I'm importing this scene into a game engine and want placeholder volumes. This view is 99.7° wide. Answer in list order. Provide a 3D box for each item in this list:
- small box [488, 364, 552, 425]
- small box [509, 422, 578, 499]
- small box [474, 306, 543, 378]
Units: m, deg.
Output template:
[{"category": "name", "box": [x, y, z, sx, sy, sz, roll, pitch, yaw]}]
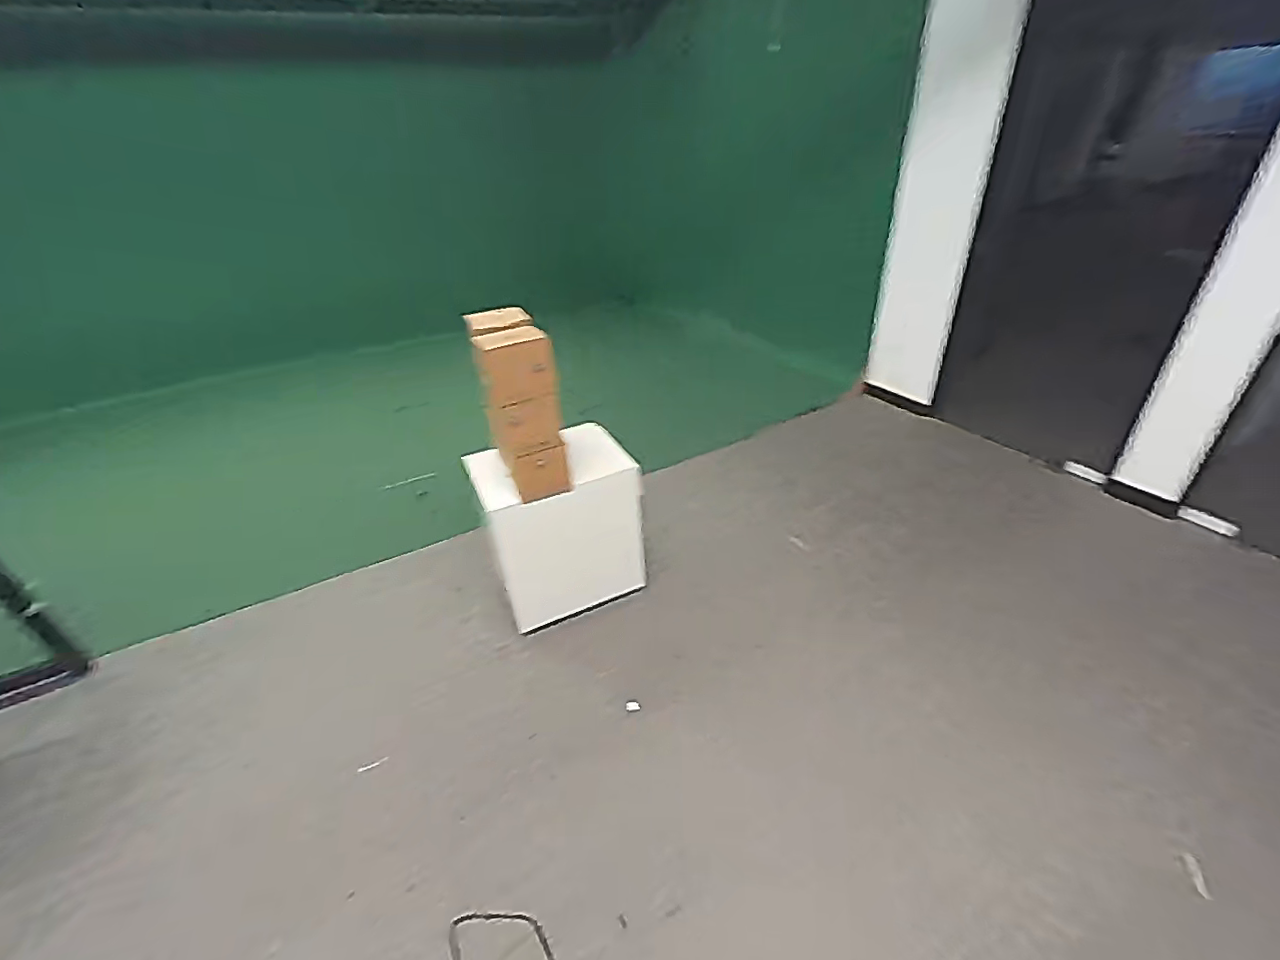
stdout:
[{"category": "small box", "box": [-0.405, -0.309, 1.836, 0.179, 0.176, 0.168, -17, 36, -18]}, {"category": "small box", "box": [-0.307, -0.062, 1.748, 0.179, 0.176, 0.168, -17, 34, -18]}, {"category": "small box", "box": [-0.419, -0.440, 1.738, 0.168, 0.176, 0.179, -17, 37, -18]}]
